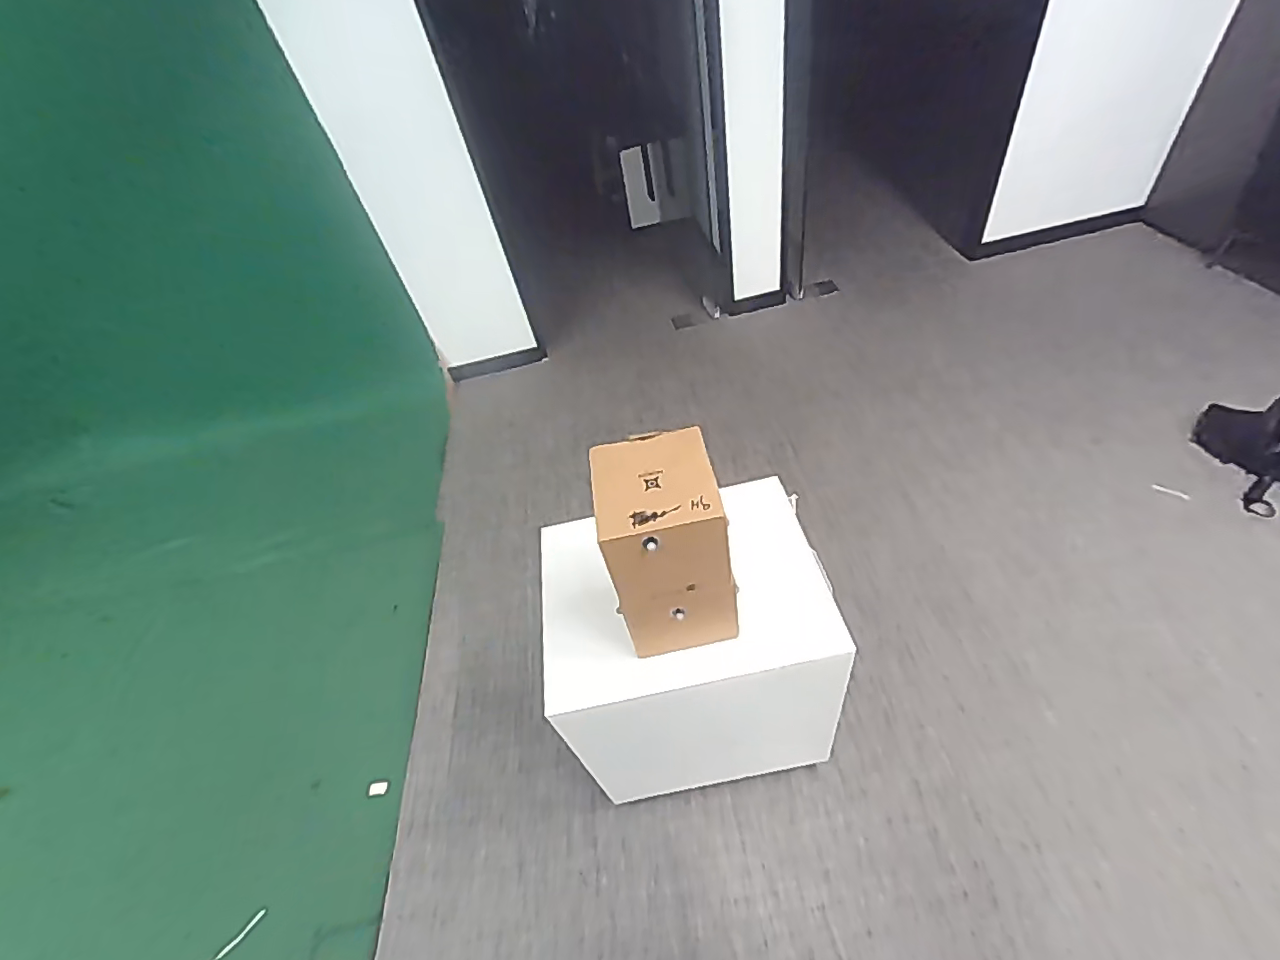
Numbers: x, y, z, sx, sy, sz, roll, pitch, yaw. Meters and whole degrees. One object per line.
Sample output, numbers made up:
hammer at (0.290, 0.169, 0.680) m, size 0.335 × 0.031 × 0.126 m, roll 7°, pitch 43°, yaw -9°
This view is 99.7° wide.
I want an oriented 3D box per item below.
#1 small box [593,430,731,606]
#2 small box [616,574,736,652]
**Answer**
small box at (0.033, 0.057, 0.796) m, size 0.168 × 0.176 × 0.179 m, roll -13°, pitch 46°, yaw 0°
small box at (0.057, 0.169, 0.909) m, size 0.179 × 0.176 × 0.168 m, roll -12°, pitch 46°, yaw 1°
